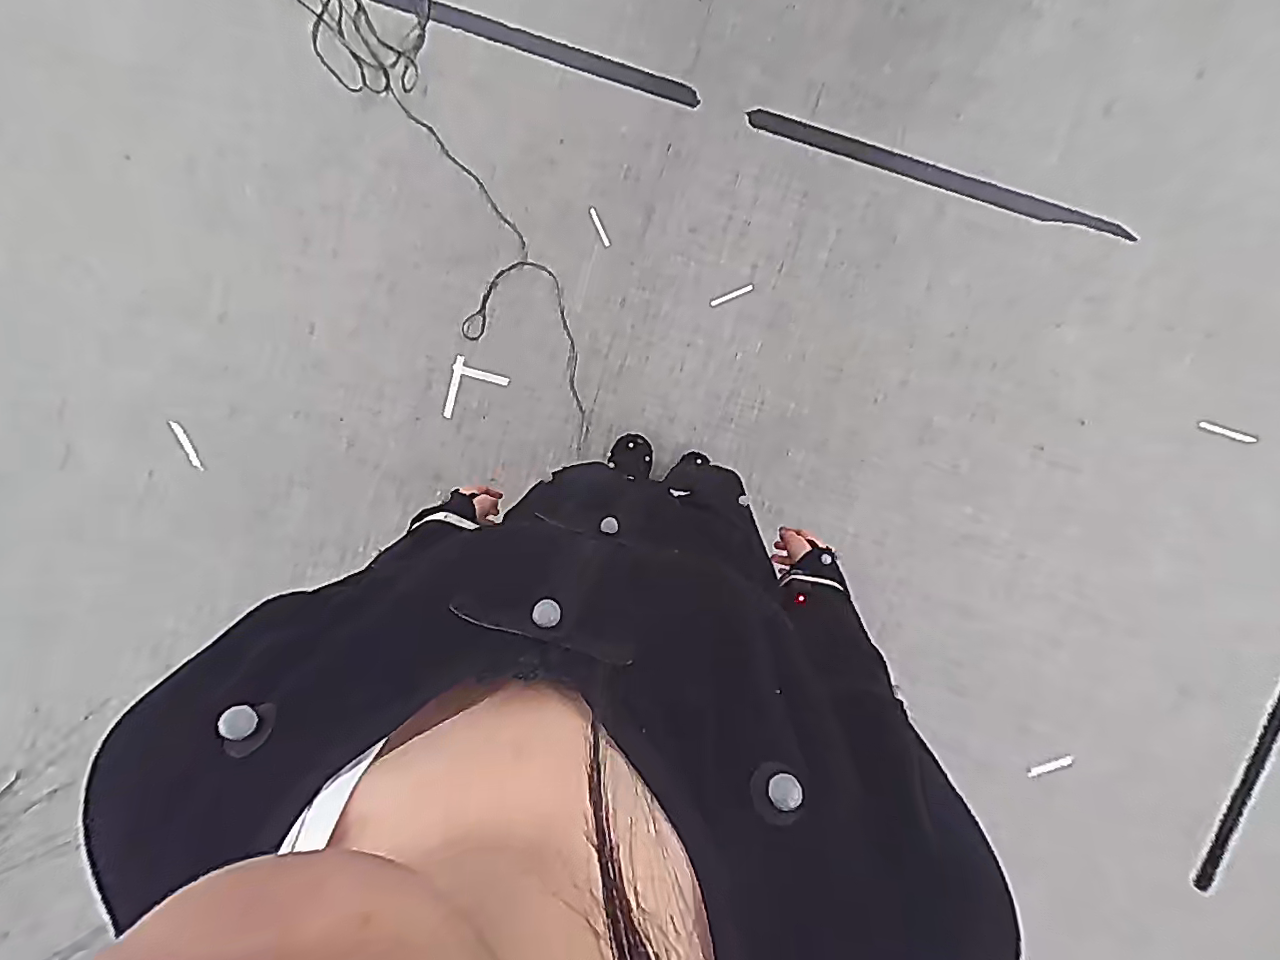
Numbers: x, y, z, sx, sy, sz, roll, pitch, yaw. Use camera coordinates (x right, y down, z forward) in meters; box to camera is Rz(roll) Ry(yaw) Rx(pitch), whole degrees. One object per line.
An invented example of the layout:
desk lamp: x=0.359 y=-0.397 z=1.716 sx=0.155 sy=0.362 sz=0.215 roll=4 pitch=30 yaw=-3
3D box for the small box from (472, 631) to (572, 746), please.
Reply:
small box: x=-0.232 y=0.399 z=0.978 sx=0.168 sy=0.176 sz=0.179 roll=23 pitch=94 yaw=0
